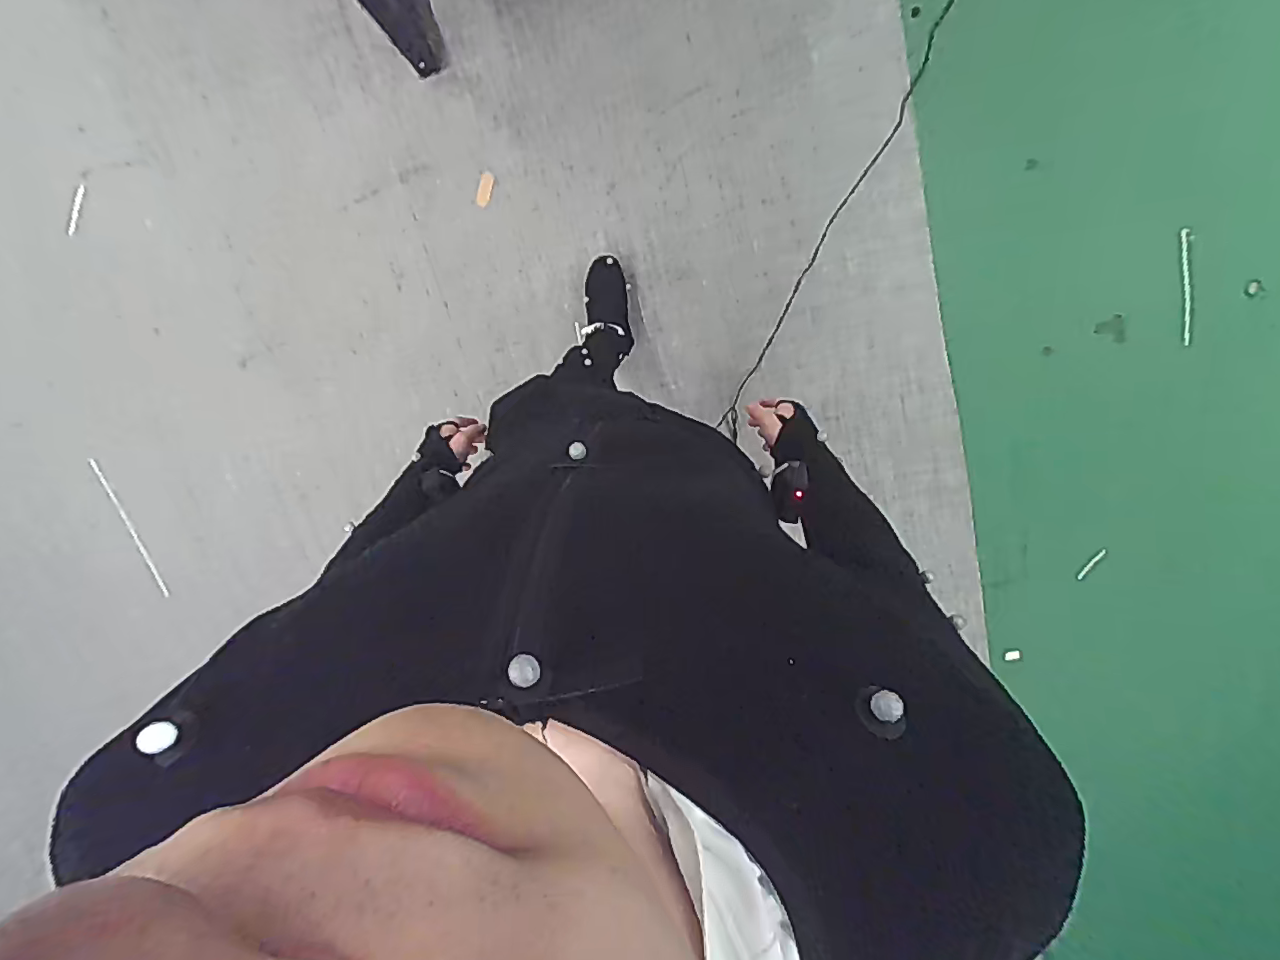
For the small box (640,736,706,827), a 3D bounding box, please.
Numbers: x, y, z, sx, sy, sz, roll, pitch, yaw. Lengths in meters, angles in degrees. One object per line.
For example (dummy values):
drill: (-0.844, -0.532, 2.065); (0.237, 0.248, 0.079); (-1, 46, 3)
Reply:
small box: (0.096, 0.884, 1.596); (0.179, 0.176, 0.168); (-6, 104, 2)
